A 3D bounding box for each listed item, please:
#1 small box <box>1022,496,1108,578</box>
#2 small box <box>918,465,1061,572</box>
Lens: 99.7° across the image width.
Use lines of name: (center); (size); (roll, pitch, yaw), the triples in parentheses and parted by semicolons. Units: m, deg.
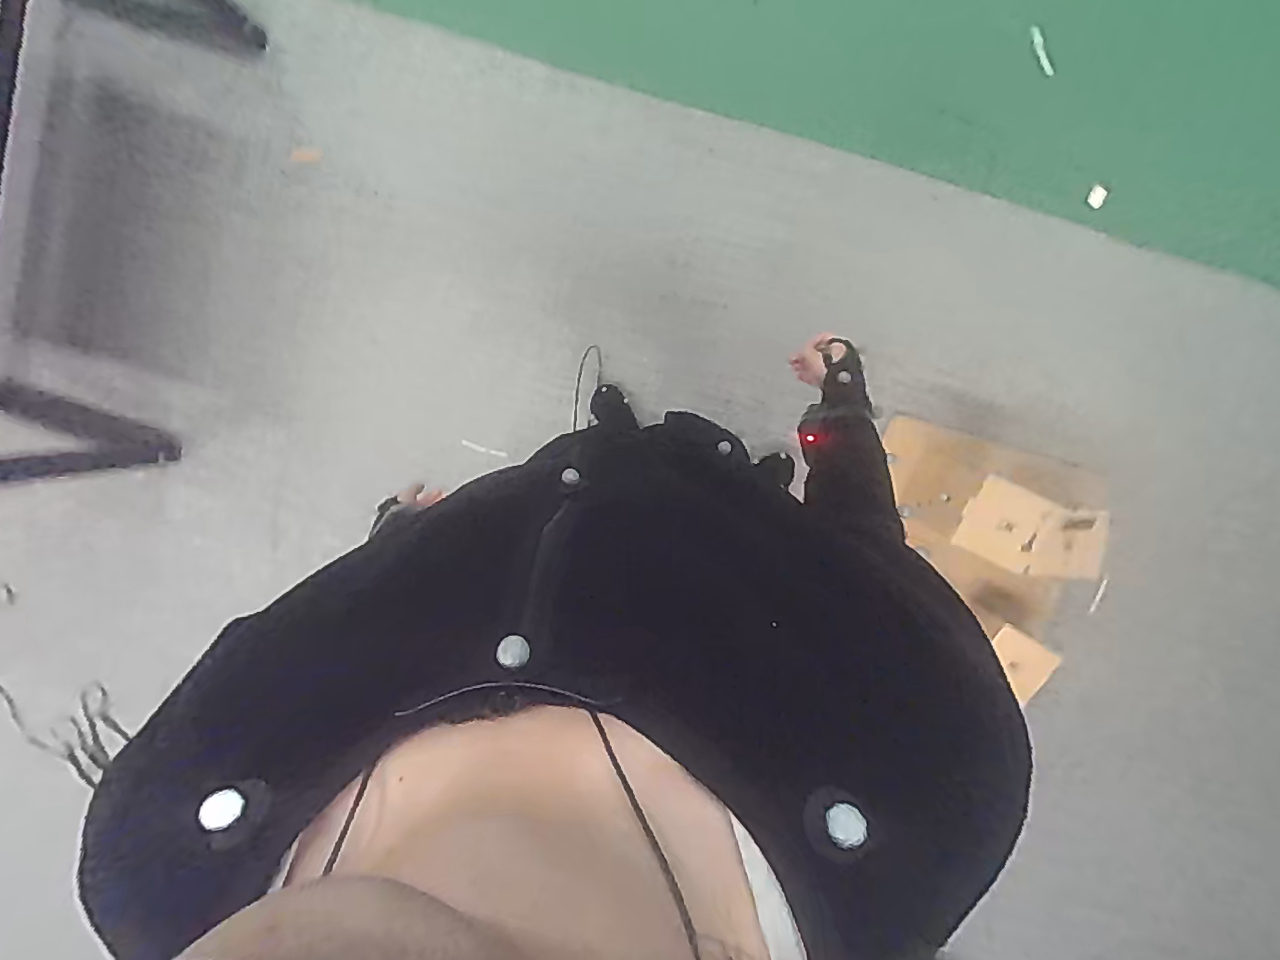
small box: (1.025, 0.135, 1.373); (0.168, 0.176, 0.179); (4, 100, 2)
small box: (0.767, 0.076, 1.211); (0.179, 0.176, 0.168); (26, 100, -1)
